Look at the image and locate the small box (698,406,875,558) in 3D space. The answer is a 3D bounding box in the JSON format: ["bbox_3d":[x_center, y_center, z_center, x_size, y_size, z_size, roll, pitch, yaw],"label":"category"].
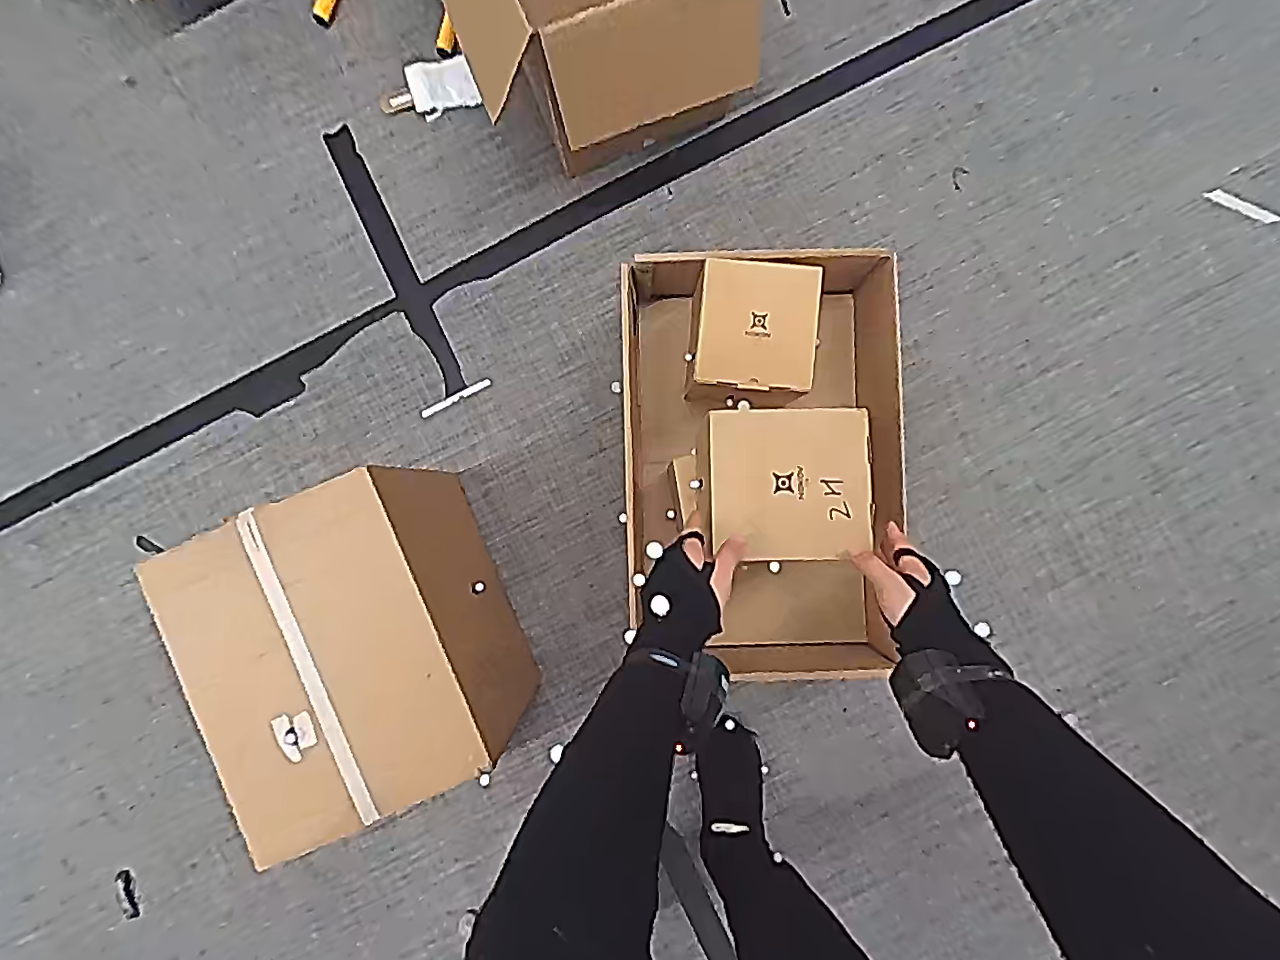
[{"bbox_3d":[0.163,0.007,0.658,0.179,0.176,0.168,0,86,0],"label":"small box"}]

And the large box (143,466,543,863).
[{"bbox_3d":[-0.385,0.224,0.802,0.320,0.320,0.408,-24,89,1],"label":"large box"}]
